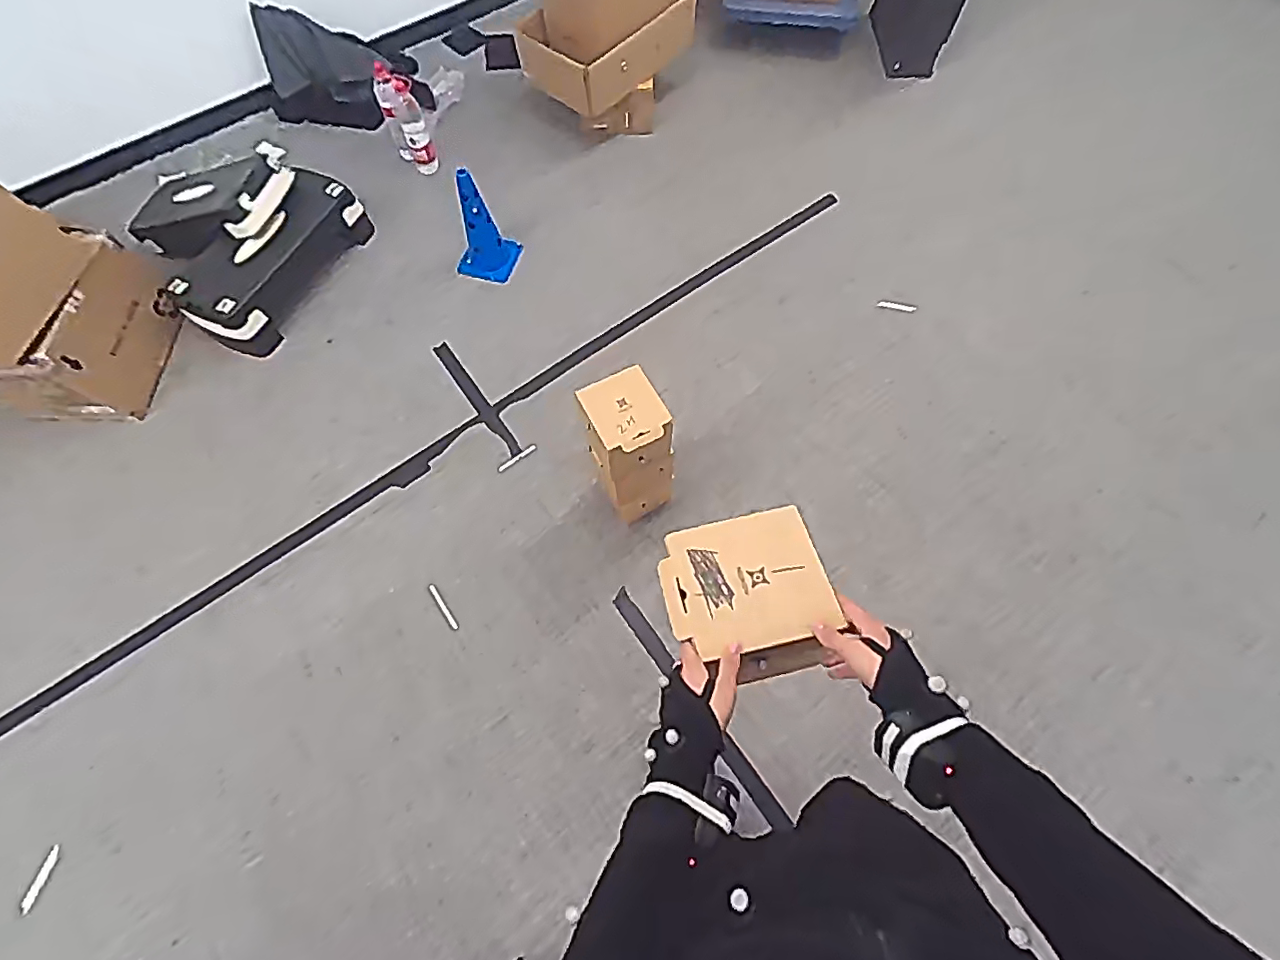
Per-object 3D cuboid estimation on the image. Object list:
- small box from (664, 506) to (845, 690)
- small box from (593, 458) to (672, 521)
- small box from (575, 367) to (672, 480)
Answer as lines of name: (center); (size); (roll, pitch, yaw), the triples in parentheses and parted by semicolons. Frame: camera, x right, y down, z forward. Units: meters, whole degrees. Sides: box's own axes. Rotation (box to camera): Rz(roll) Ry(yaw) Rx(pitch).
small box: (0.137, 0.161, 0.708); (0.179, 0.176, 0.168); (-13, 57, -3)
small box: (-0.019, 0.004, 1.589); (0.168, 0.176, 0.179); (-31, 70, -12)
small box: (-0.040, -0.129, 1.287); (0.168, 0.176, 0.179); (-26, 69, -10)
